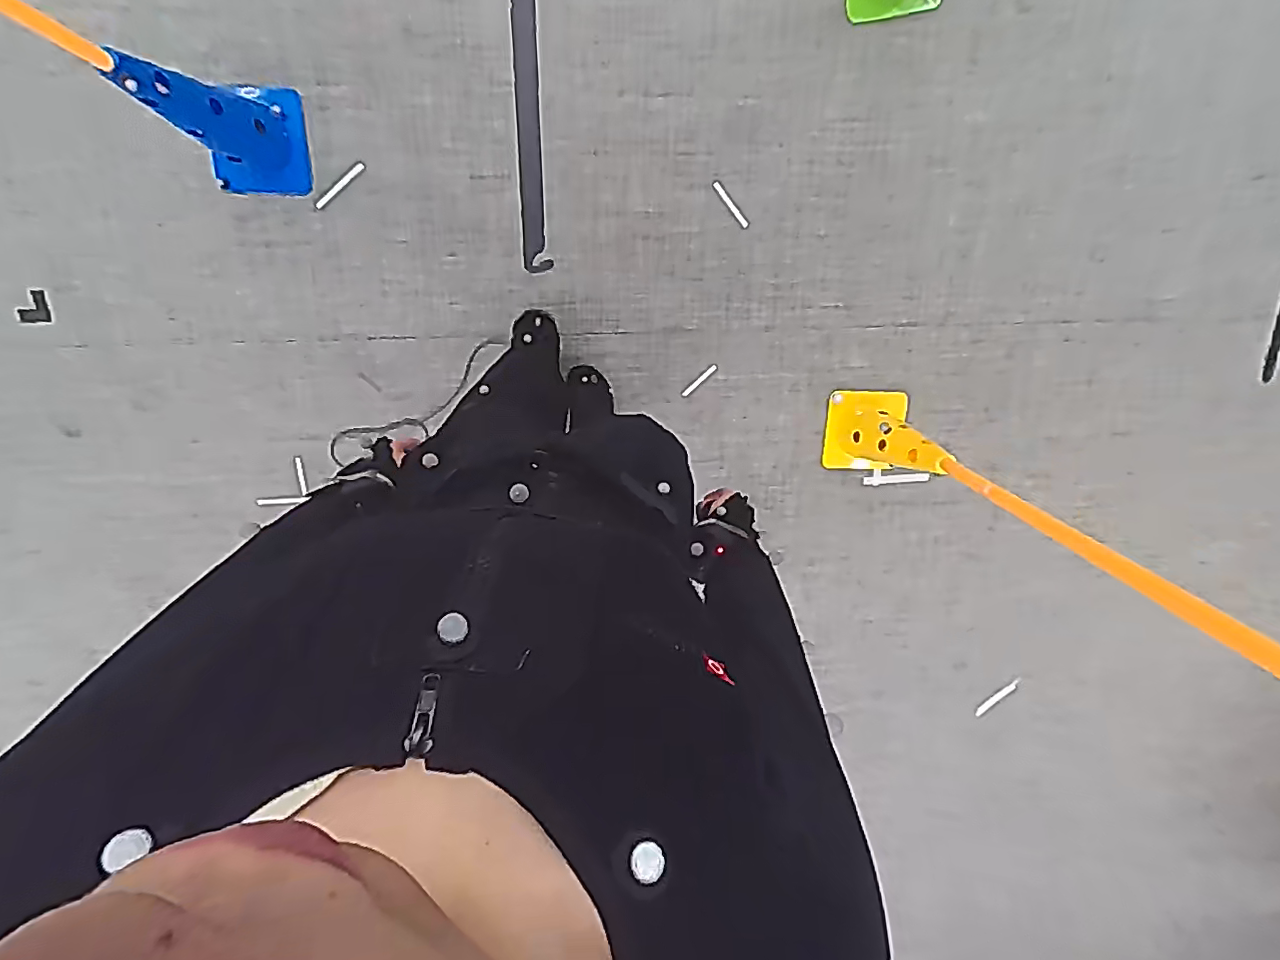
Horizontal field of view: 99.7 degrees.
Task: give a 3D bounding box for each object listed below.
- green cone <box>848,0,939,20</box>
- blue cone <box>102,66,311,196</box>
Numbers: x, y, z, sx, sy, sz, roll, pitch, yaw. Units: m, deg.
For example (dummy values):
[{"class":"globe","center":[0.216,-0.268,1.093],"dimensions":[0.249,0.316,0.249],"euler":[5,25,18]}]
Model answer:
[{"class":"green cone","center":[0.522,-1.012,0.928],"dimensions":[0.200,0.368,0.202],"euler":[-11,108,1]},{"class":"blue cone","center":[-0.797,-0.661,0.983],"dimensions":[0.193,0.380,0.192],"euler":[2,106,-3]}]
